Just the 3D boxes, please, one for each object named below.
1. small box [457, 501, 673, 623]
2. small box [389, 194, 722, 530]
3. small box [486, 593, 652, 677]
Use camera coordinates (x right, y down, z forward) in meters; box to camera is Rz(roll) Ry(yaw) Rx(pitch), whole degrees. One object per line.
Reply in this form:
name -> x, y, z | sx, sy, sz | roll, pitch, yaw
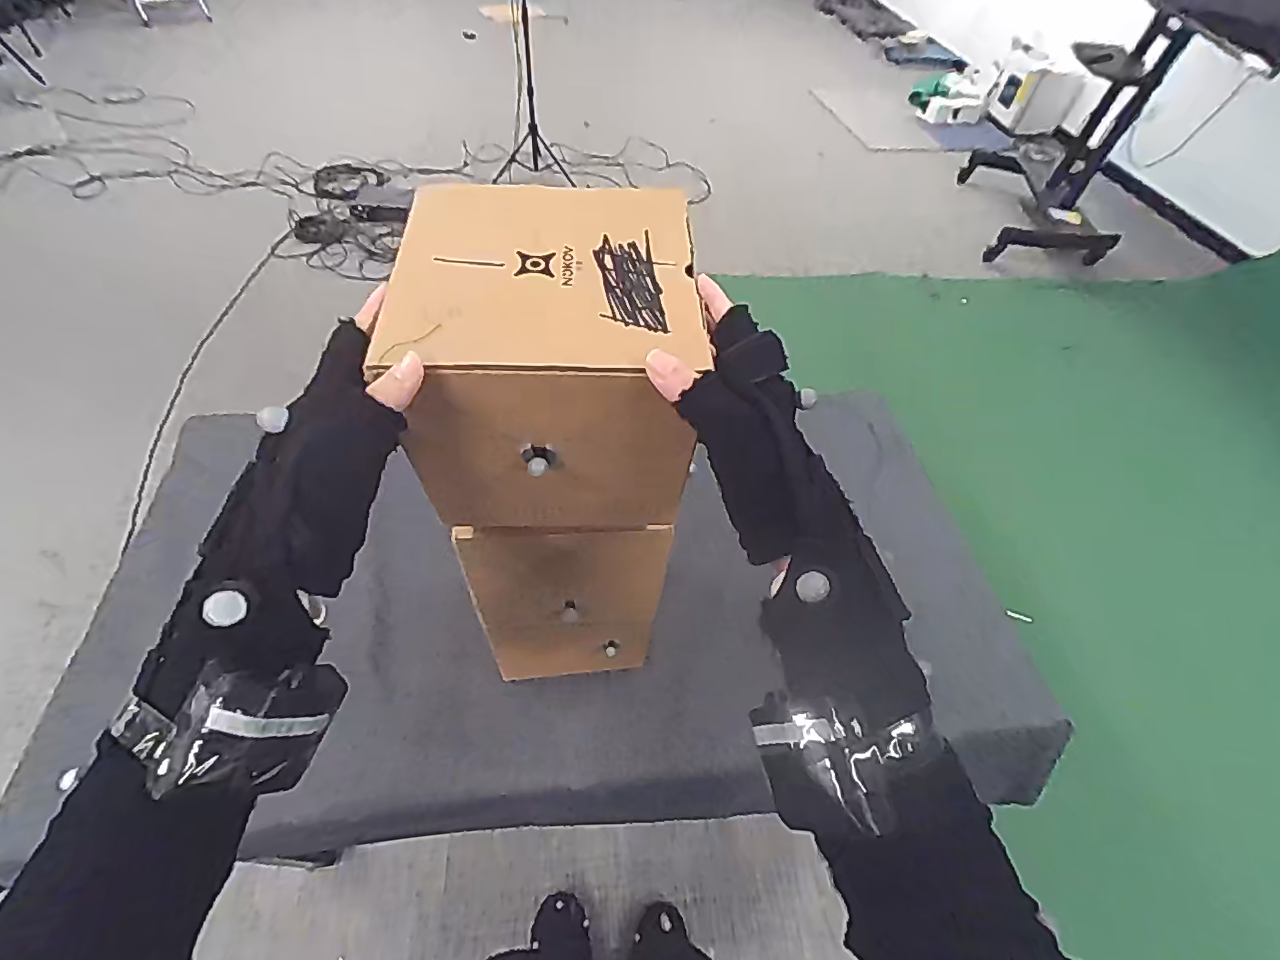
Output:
small box -> -0.074, 0.032, 0.545 | 0.179, 0.176, 0.168 | -2, 51, -8
small box -> -0.057, -0.075, 0.389 | 0.179, 0.176, 0.168 | -2, 57, -8
small box -> -0.088, 0.131, 0.675 | 0.179, 0.176, 0.168 | -5, 52, -8
